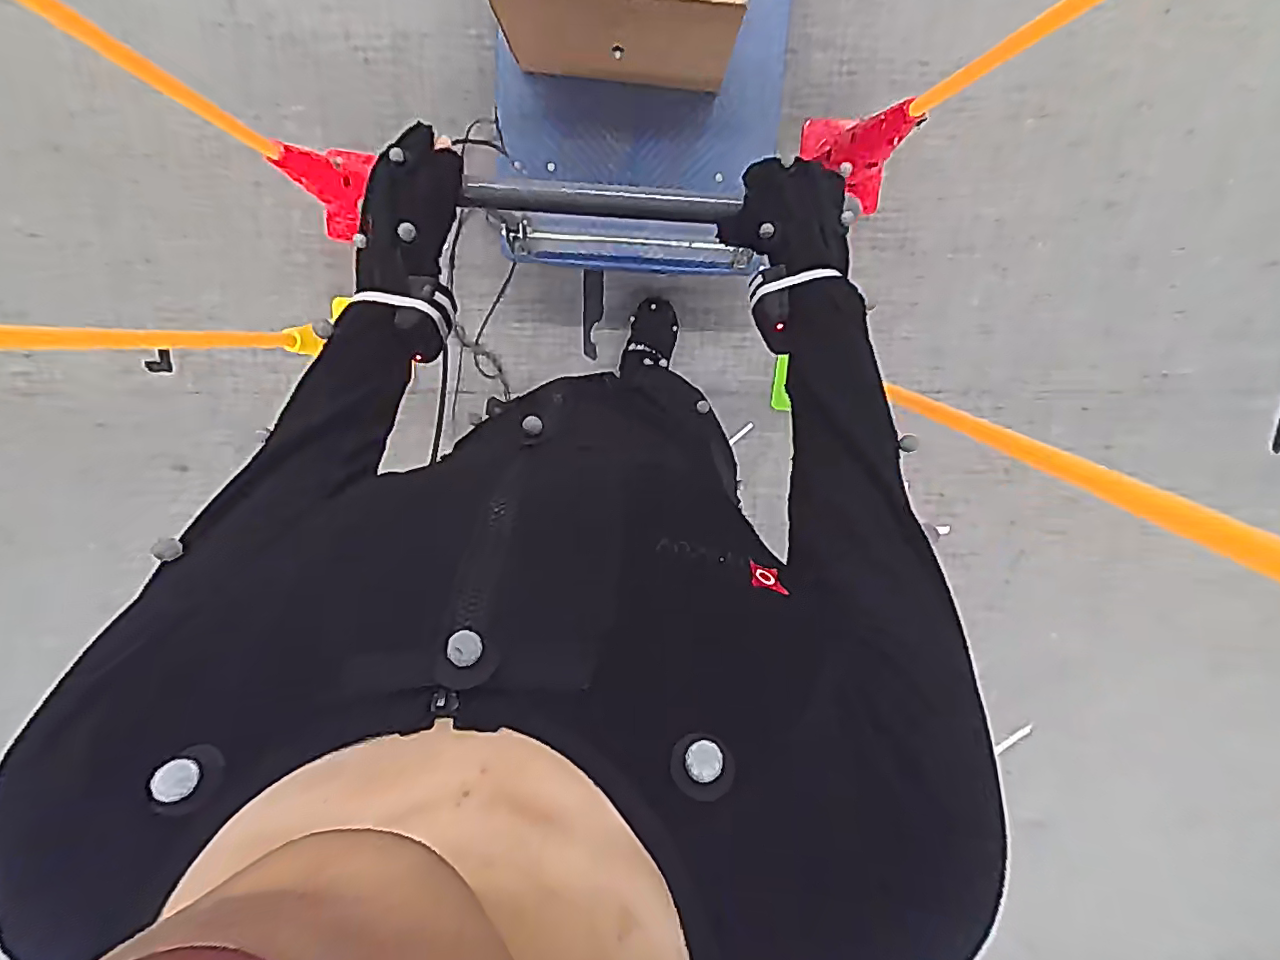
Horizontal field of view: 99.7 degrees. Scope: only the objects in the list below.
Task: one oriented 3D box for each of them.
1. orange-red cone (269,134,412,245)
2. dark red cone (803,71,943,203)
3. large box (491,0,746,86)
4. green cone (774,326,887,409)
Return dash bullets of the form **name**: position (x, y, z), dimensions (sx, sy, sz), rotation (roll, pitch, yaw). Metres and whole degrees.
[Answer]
- **orange-red cone**: position (-0.648, -0.642, 1.134), dimensions (0.198, 0.360, 0.199), rotation (8, 103, -3)
- **dark red cone**: position (0.483, -0.709, 1.091), dimensions (0.201, 0.394, 0.202), rotation (0, 105, -2)
- **large box**: position (-0.025, -0.913, 0.911), dimensions (0.408, 0.320, 0.320), rotation (5, 105, -1)
- **green cone**: position (0.458, -0.245, 1.231), dimensions (0.202, 0.368, 0.200), rotation (4, 105, -2)
